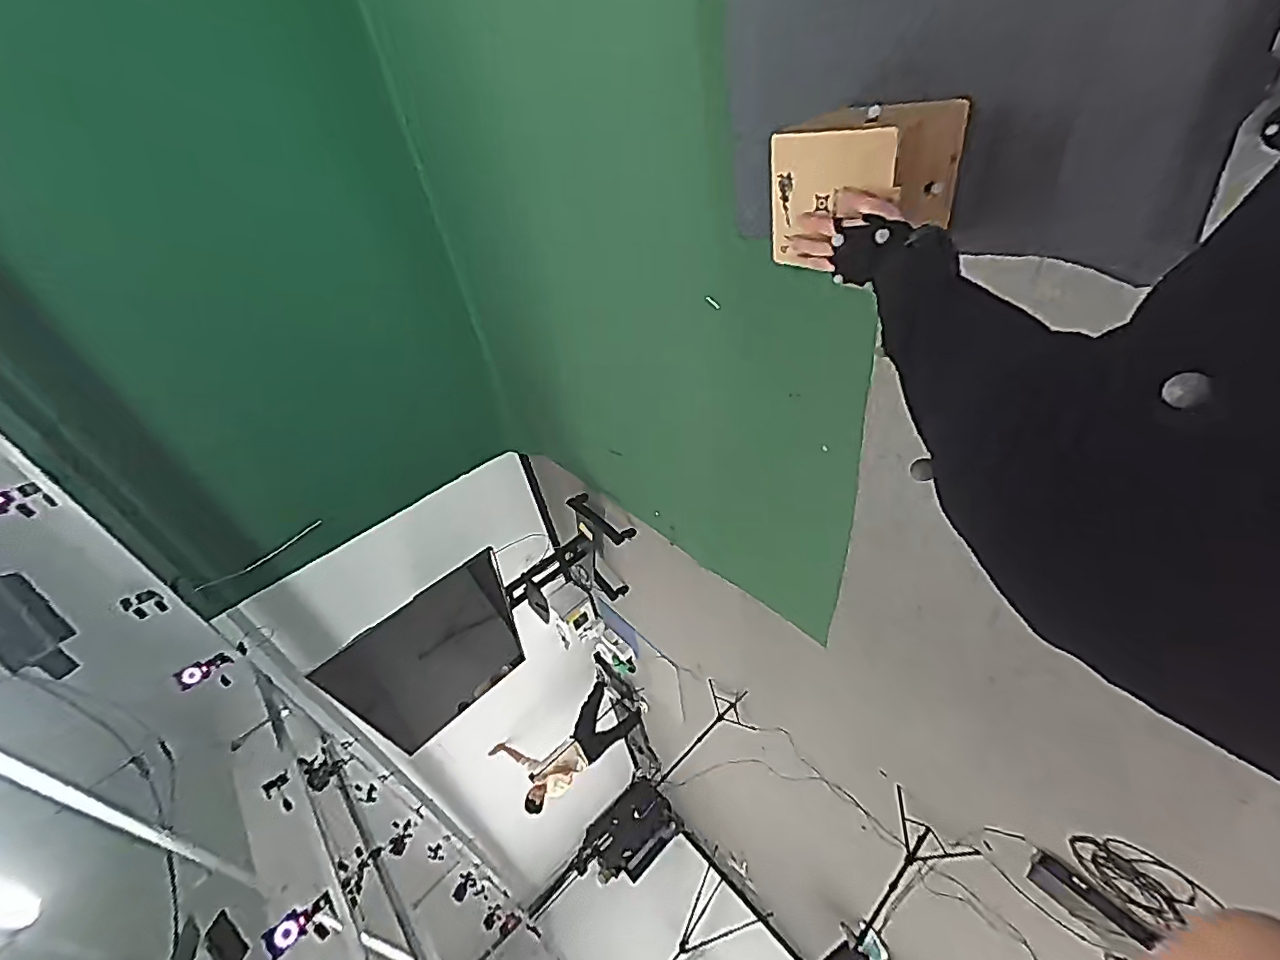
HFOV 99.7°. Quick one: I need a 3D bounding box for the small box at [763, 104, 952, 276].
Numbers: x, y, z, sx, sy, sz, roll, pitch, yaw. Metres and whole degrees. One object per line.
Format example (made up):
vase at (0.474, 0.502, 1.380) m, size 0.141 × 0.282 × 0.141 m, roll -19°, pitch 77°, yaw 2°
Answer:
small box at (0.289, -0.393, 0.731) m, size 0.179 × 0.176 × 0.168 m, roll 28°, pitch 141°, yaw 40°
